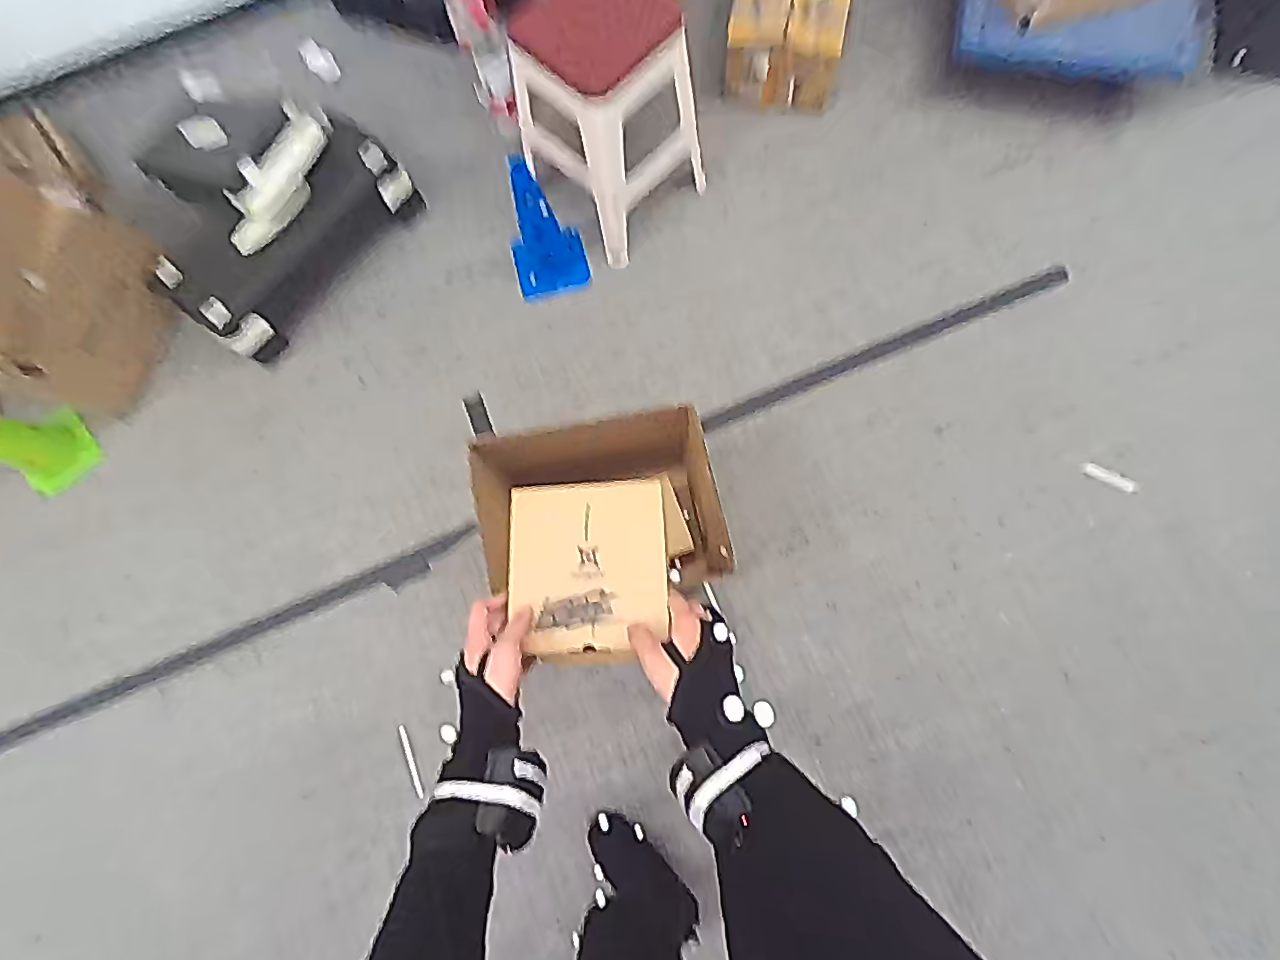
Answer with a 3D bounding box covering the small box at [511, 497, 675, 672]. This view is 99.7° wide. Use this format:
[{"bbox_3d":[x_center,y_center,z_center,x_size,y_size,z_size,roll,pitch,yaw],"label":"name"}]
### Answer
[{"bbox_3d":[-0.046,0.126,0.638,0.168,0.176,0.179,-3,73,3],"label":"small box"}]
